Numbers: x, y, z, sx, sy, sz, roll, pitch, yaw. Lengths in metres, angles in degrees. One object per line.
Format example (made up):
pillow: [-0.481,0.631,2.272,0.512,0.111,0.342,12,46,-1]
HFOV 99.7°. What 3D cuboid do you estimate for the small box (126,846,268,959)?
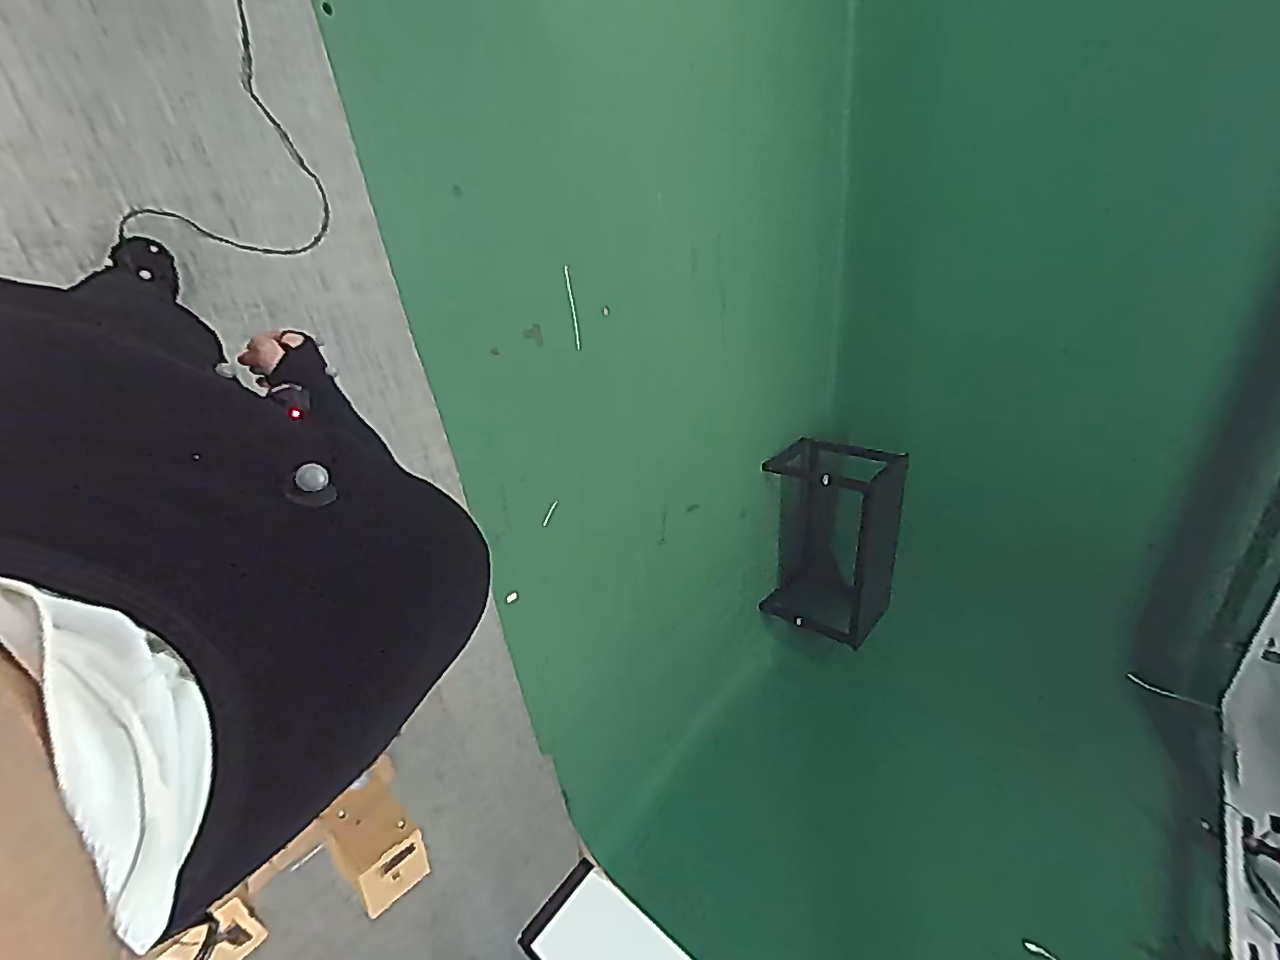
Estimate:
small box: [-0.965,0.958,1.181,0.179,0.176,0.168,-32,125,-40]

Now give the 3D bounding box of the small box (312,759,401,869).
small box: [-0.840,0.976,1.594,0.179,0.176,0.168,-24,121,-44]

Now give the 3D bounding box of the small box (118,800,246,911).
small box: [-1.089,0.918,1.282,0.179,0.176,0.168,-33,126,-41]

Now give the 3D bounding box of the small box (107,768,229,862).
small box: [-1.210,0.888,1.386,0.179,0.176,0.168,-31,125,-40]
